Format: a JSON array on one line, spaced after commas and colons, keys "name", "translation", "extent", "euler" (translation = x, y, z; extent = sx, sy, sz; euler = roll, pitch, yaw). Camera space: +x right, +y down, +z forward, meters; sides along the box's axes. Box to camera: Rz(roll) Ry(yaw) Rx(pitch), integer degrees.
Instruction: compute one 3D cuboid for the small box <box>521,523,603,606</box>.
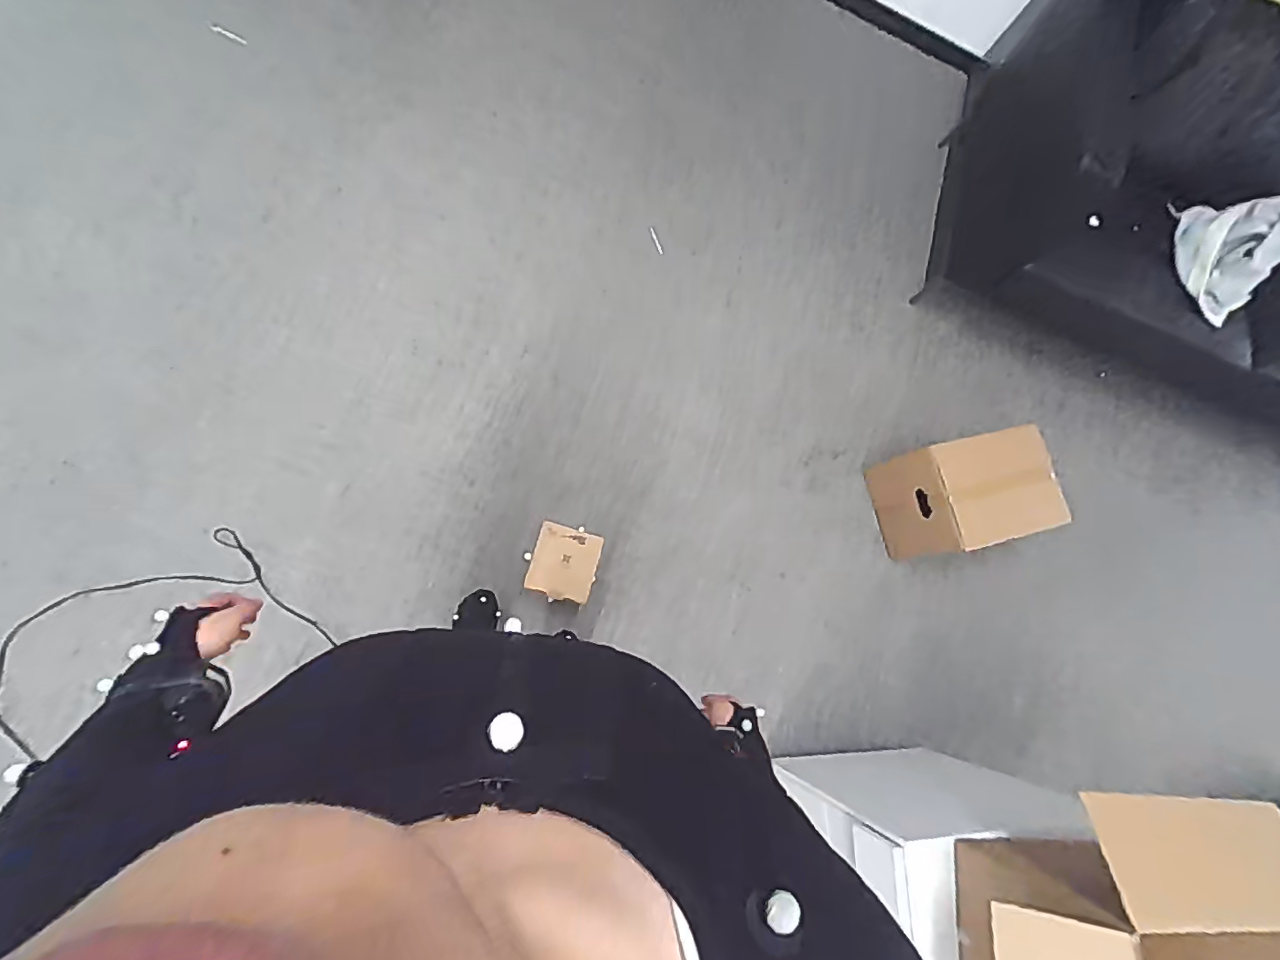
[{"name": "small box", "translation": [-0.213, 0.231, 1.449], "extent": [0.168, 0.176, 0.179], "euler": [19, 73, -10]}]
